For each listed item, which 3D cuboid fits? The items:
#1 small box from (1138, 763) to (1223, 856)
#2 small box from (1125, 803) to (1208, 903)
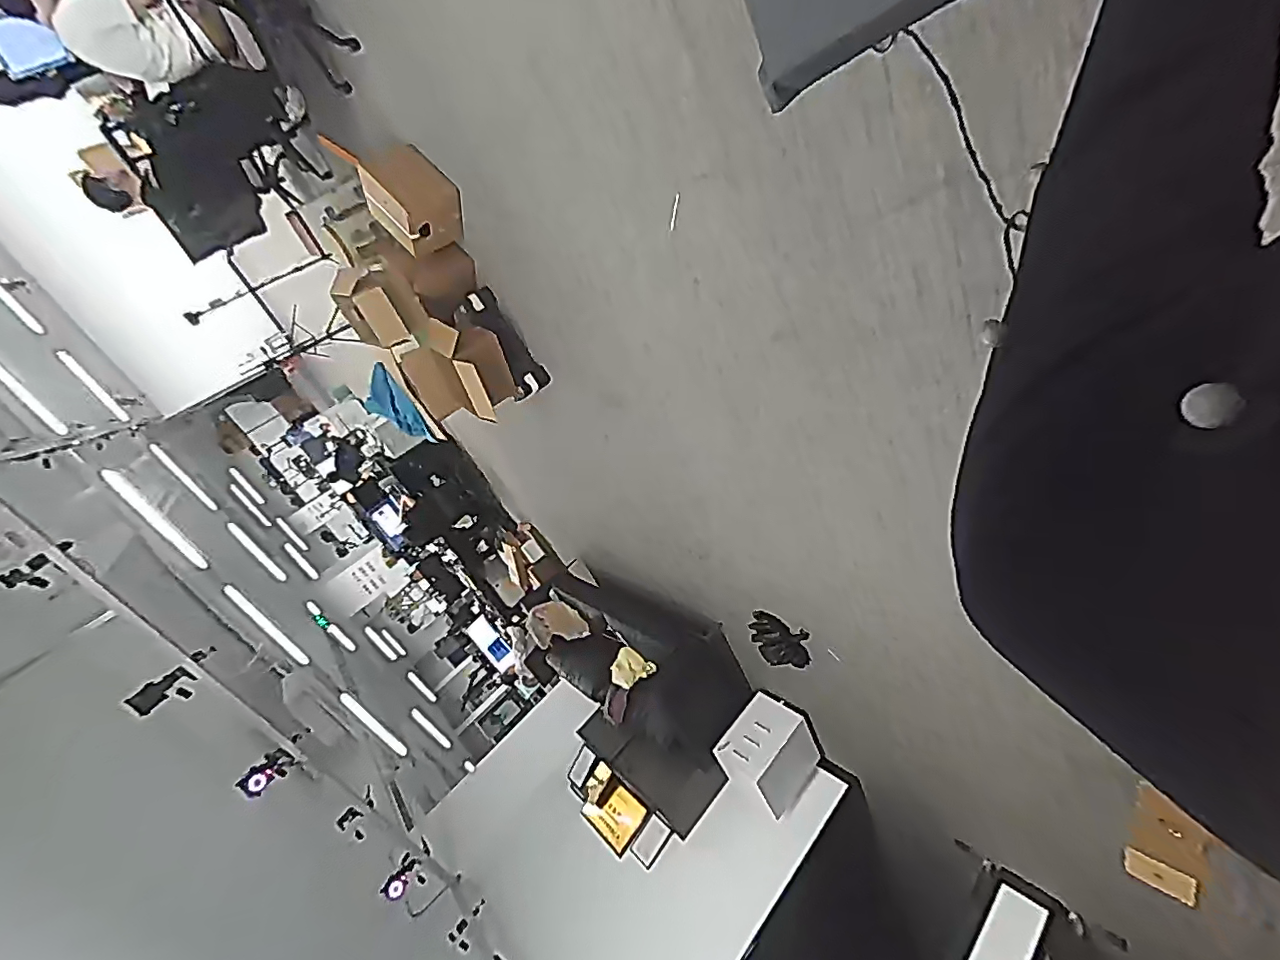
[{"bbox_3d":[1.808,1.095,1.810,0.179,0.176,0.168,15,139,52],"label":"small box"},{"bbox_3d":[1.700,1.198,1.747,0.168,0.176,0.179,11,134,52],"label":"small box"}]
